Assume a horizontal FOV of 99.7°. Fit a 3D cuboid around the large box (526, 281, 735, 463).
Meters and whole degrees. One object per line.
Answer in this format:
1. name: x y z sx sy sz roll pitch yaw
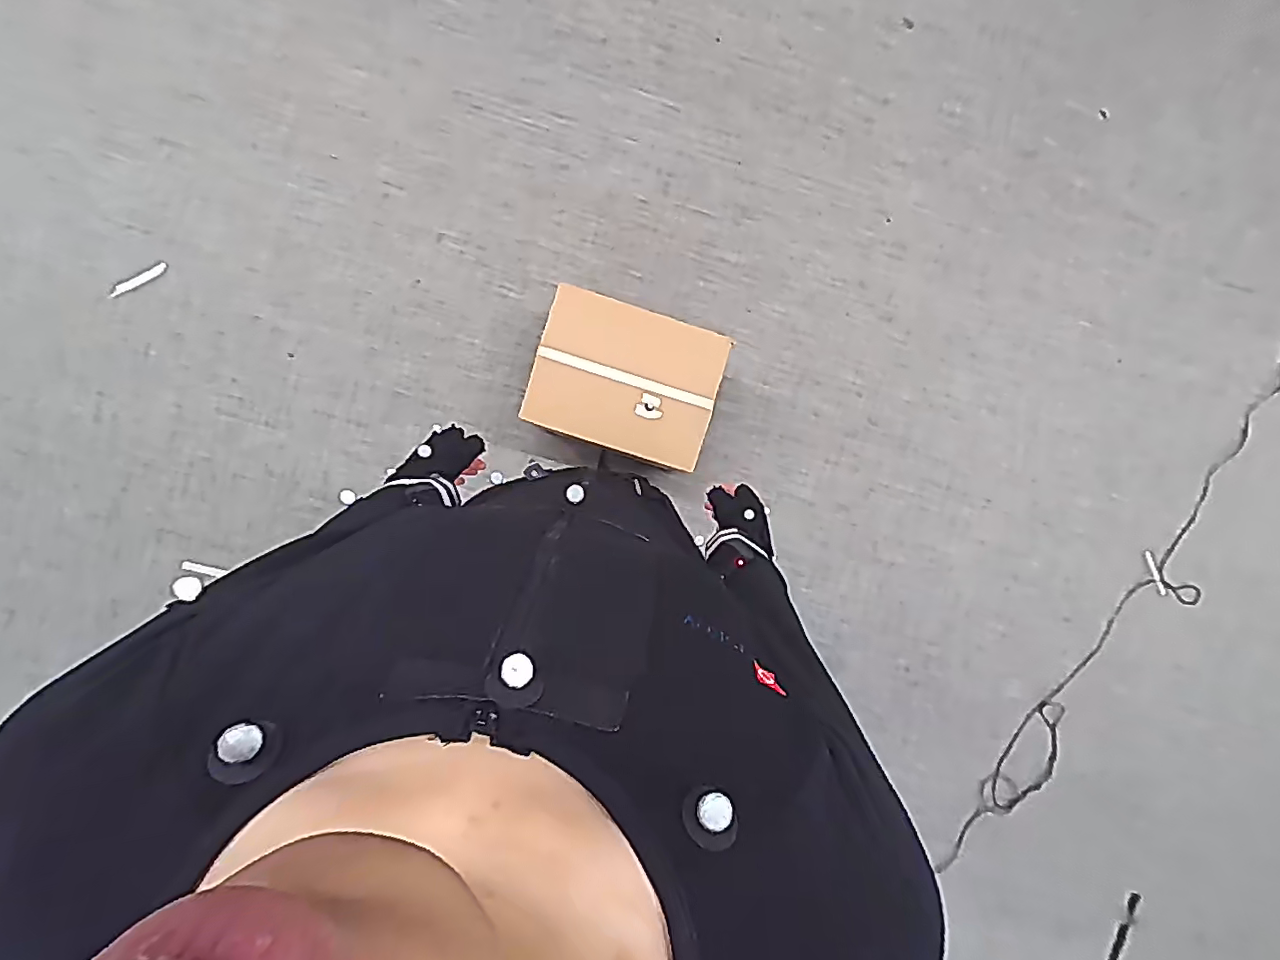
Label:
1. large box: -0.030 -0.241 1.336 0.408 0.320 0.320 17 92 -4
